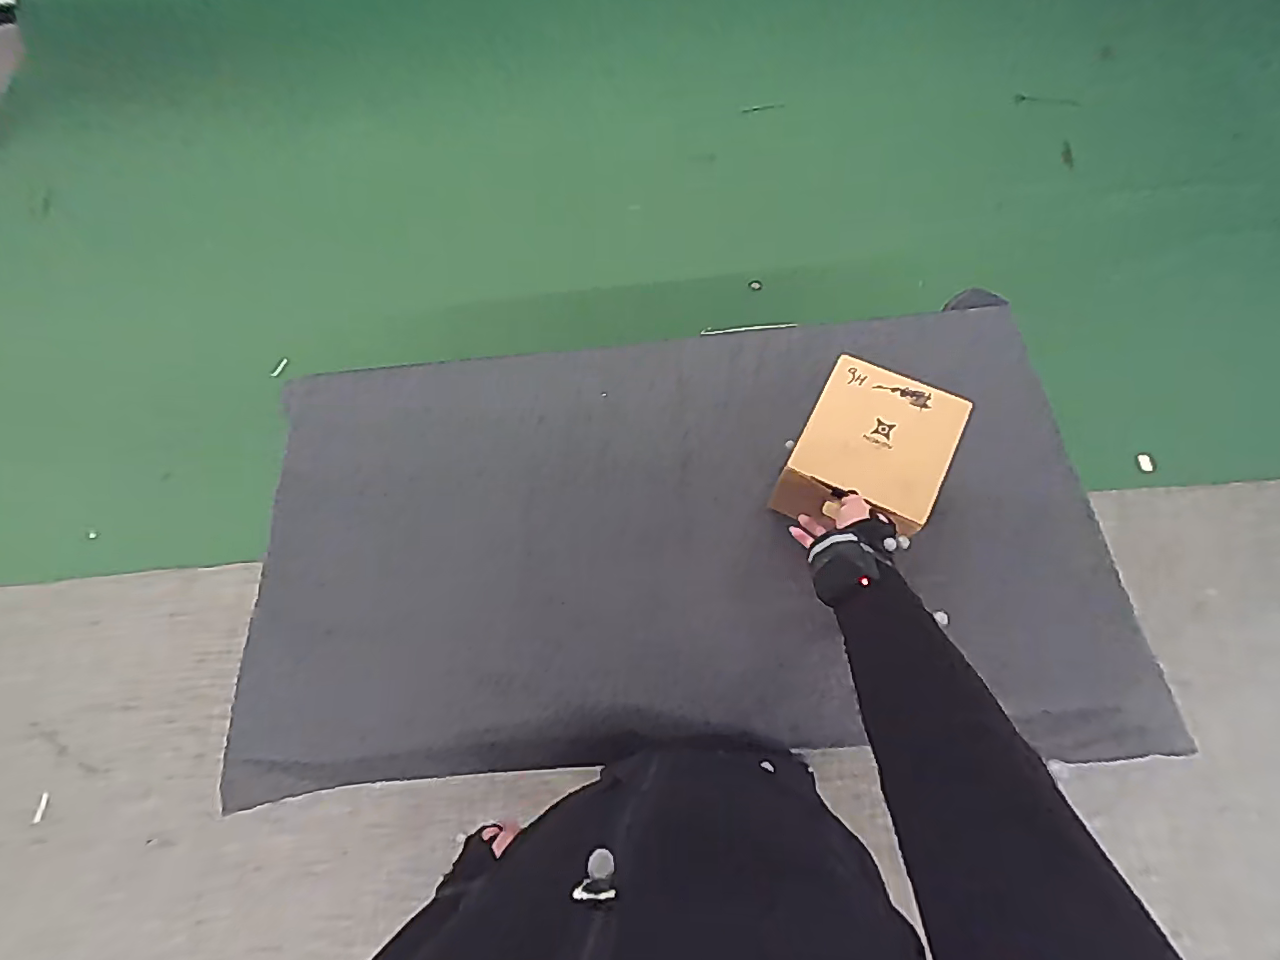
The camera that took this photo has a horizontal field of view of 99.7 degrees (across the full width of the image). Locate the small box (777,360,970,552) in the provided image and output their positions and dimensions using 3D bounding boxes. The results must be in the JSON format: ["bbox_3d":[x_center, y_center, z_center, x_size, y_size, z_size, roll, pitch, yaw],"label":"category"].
[{"bbox_3d":[0.296,-0.022,0.725,0.168,0.176,0.179,26,76,14],"label":"small box"}]
